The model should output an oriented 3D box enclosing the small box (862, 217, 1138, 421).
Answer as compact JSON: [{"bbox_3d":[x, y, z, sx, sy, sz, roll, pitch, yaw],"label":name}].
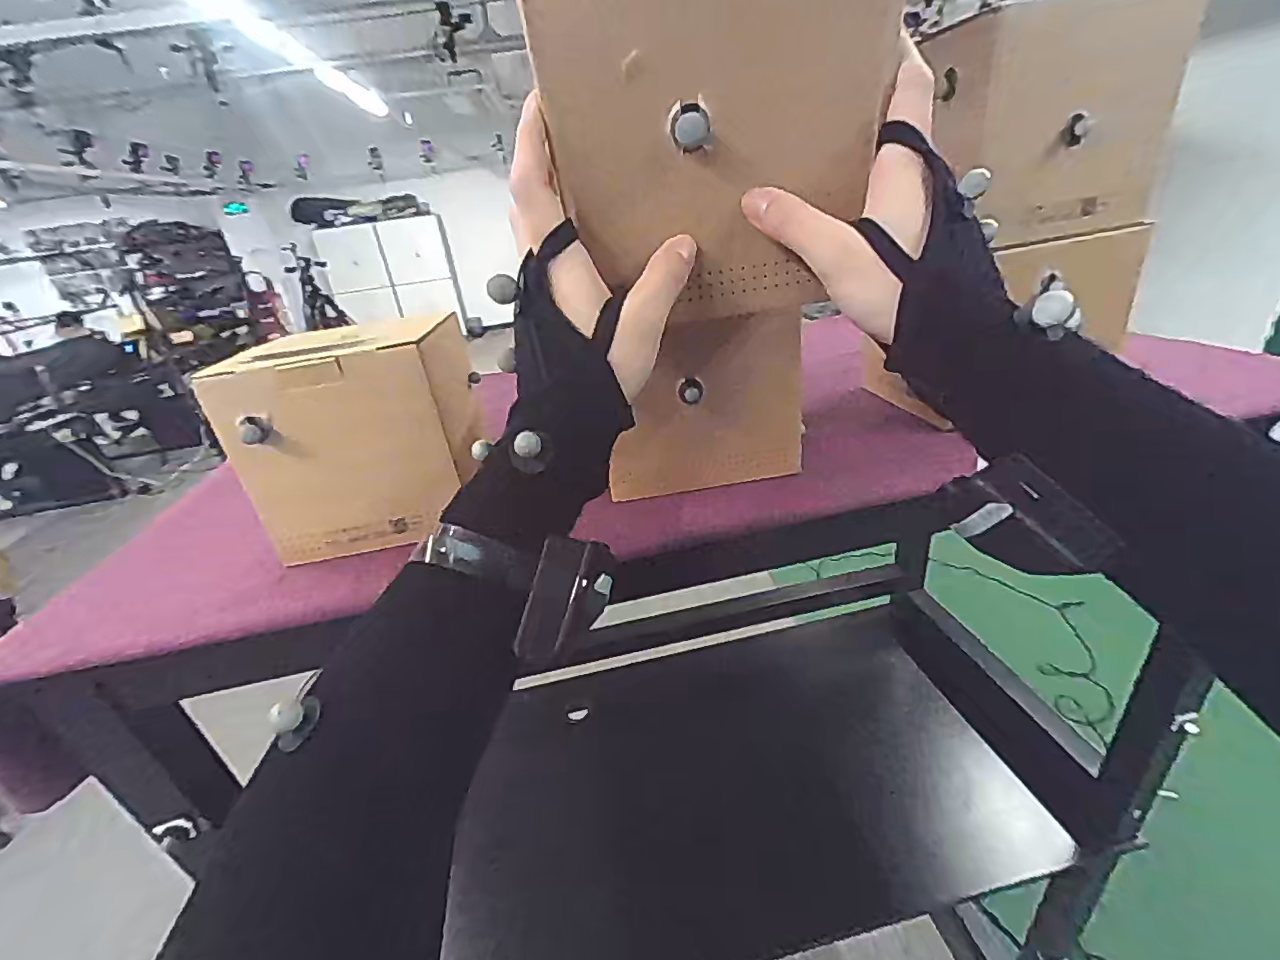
[{"bbox_3d":[0.354,-0.172,0.572,0.179,0.176,0.168,-10,27,-2],"label":"small box"}]

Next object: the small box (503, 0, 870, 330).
[{"bbox_3d":[0.033,-0.209,0.347,0.179,0.176,0.168,-10,36,3],"label":"small box"}]

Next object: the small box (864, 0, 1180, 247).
[{"bbox_3d":[0.328,-0.319,0.503,0.168,0.176,0.179,-10,27,-3],"label":"small box"}]

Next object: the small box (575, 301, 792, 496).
[{"bbox_3d":[0.039,-0.103,0.530,0.179,0.176,0.168,-10,27,0],"label":"small box"}]
